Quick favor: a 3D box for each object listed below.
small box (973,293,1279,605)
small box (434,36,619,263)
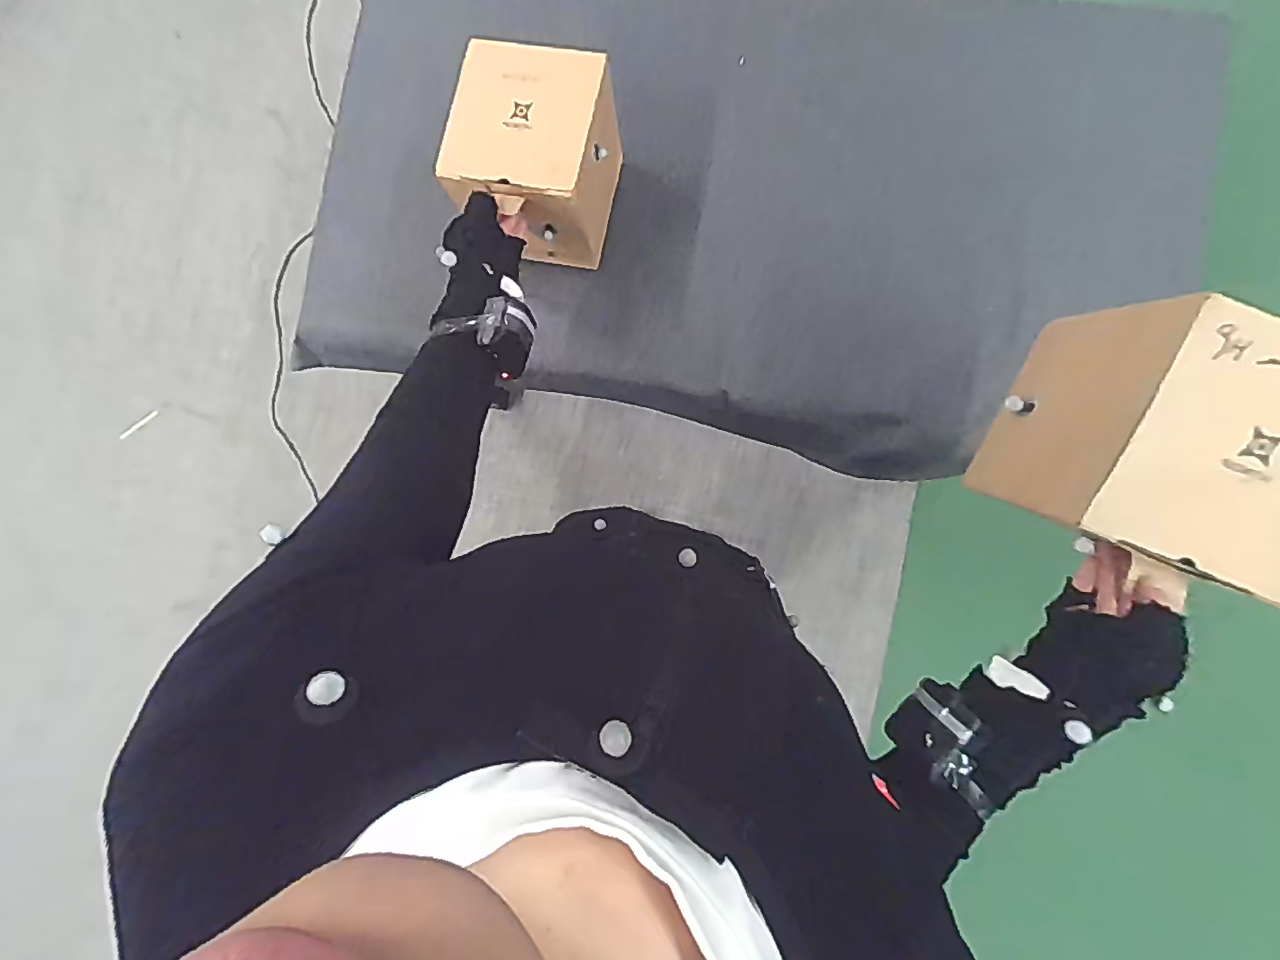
[{"bbox_3d":[0.423,-0.031,0.454,0.168,0.176,0.179,22,101,-1],"label":"small box"},{"bbox_3d":[-0.128,-0.402,0.684,0.168,0.176,0.179,11,83,6],"label":"small box"}]
